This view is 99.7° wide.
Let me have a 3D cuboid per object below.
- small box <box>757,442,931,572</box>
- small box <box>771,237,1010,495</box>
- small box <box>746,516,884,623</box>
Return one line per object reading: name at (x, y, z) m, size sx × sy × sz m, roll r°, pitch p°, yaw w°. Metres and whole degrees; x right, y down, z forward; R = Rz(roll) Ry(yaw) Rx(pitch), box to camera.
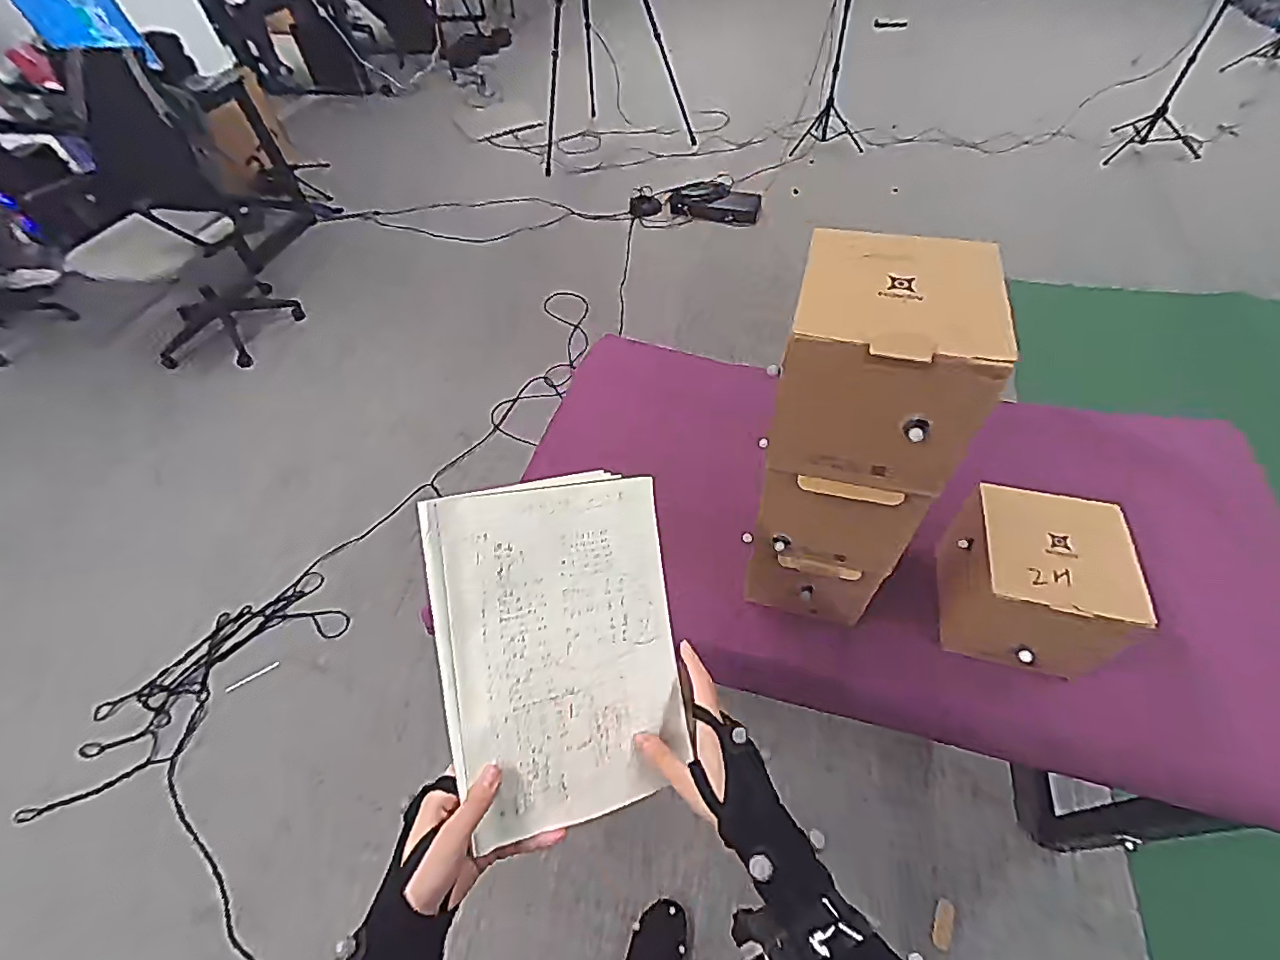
small box at (0.241, -0.011, 0.659) m, size 0.168 × 0.176 × 0.179 m, roll 11°, pitch 53°, yaw 13°
small box at (0.228, -0.109, 0.528) m, size 0.168 × 0.176 × 0.179 m, roll 12°, pitch 53°, yaw 13°
small box at (0.253, 0.086, 0.791) m, size 0.168 × 0.176 × 0.179 m, roll 11°, pitch 54°, yaw 13°
